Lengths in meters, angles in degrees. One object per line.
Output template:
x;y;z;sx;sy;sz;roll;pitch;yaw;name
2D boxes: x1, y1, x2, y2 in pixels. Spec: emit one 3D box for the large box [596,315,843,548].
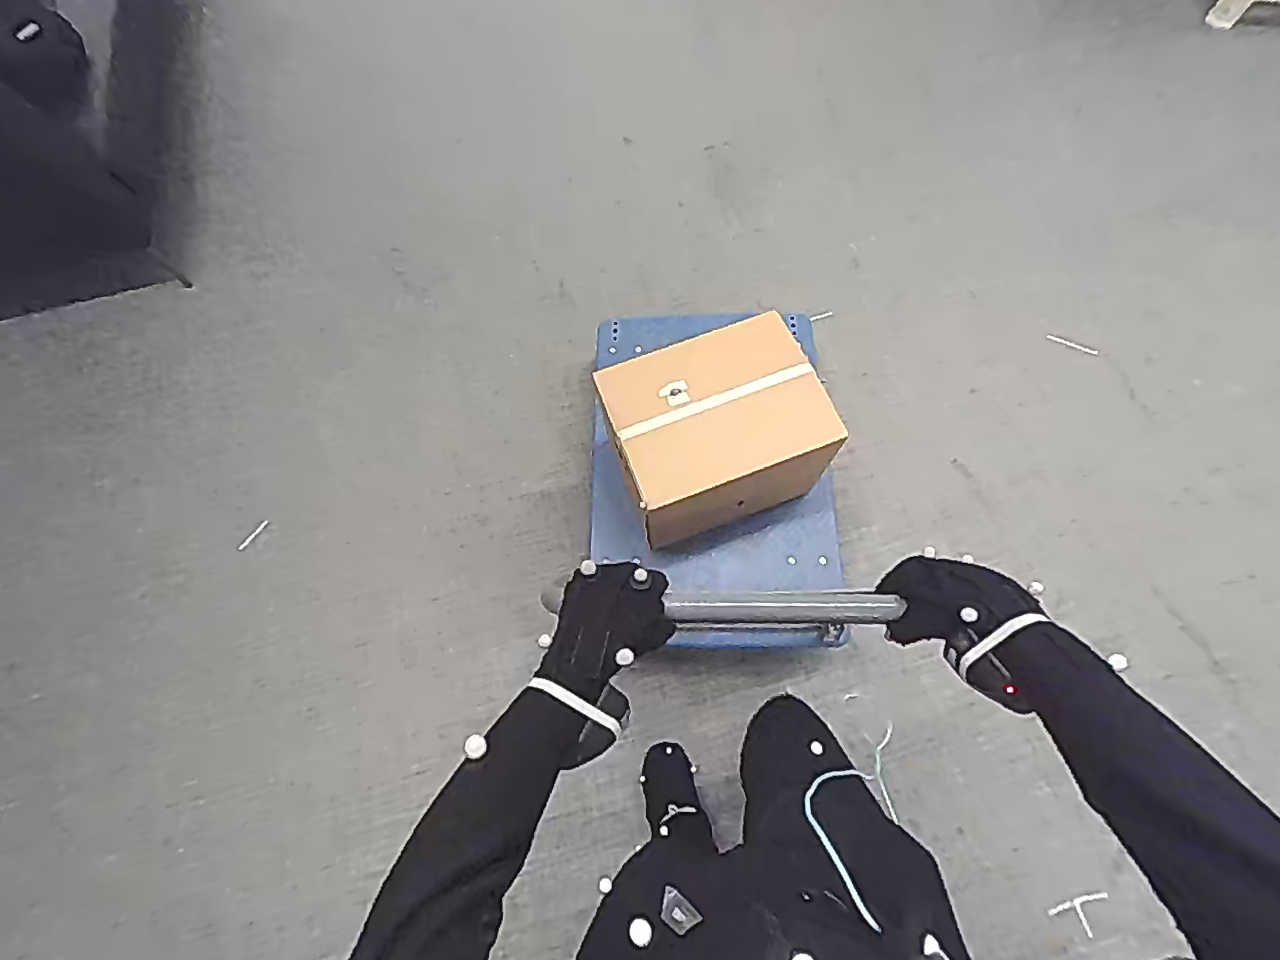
0.158;-0.090;1.192;0.408;0.320;0.320;-21;68;-4;large box
